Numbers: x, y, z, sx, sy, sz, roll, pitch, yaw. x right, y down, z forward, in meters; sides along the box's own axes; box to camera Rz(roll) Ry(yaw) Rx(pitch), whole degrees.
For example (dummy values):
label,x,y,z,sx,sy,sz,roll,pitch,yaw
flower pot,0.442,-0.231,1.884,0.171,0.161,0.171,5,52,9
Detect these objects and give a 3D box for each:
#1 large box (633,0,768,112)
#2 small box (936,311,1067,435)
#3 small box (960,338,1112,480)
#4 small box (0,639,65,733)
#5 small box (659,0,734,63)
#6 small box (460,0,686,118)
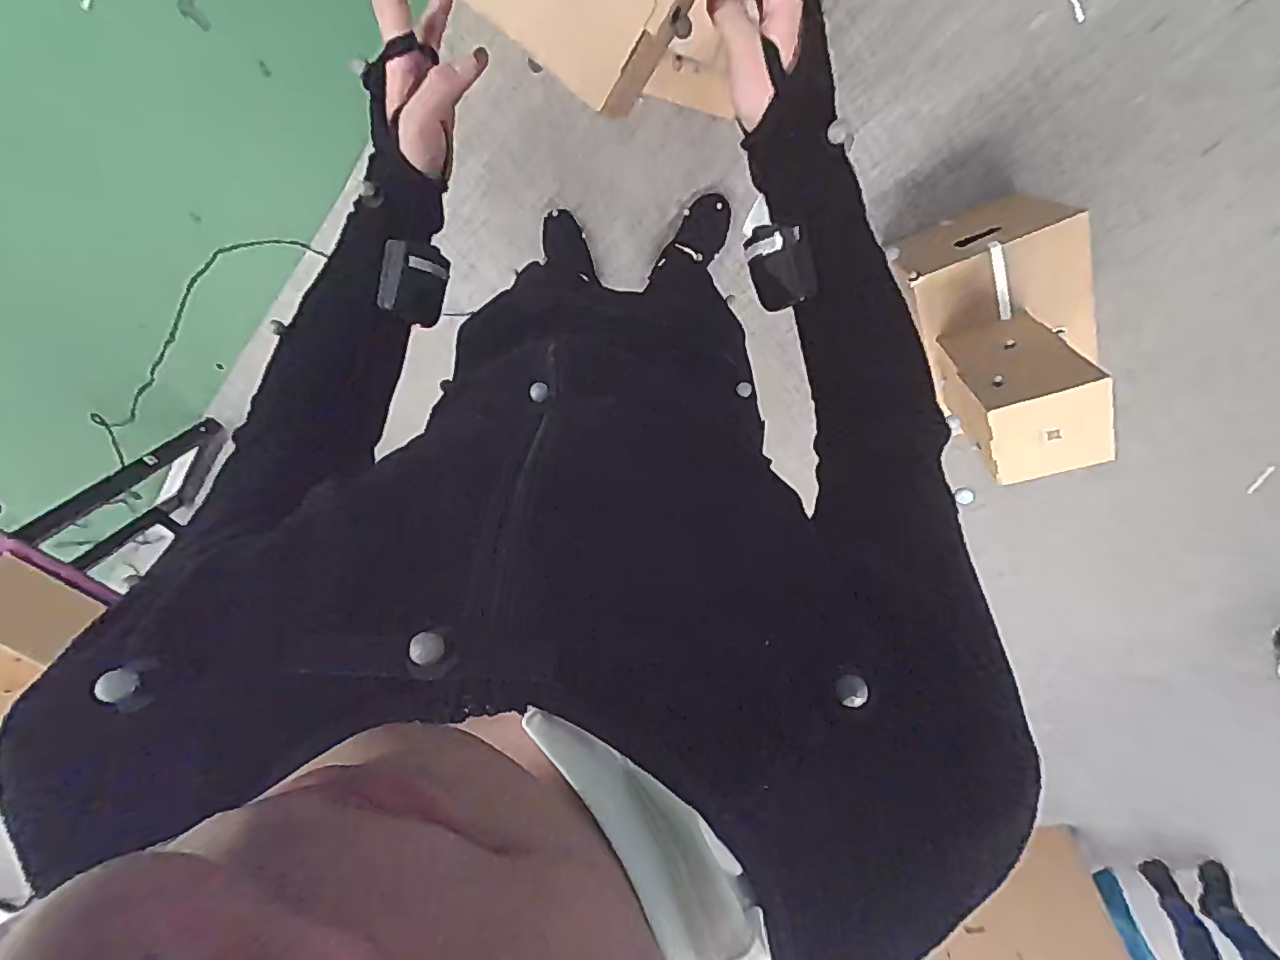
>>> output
label,x,y,z,sx,sy,sz,roll,pitch,yaw
large box,0.040,-0.932,1.033,0.408,0.320,0.320,16,124,0
small box,0.729,-0.221,1.100,0.179,0.176,0.168,-15,120,21
small box,0.697,-0.129,0.969,0.179,0.176,0.168,-17,120,21
small box,-1.765,0.569,1.495,0.179,0.176,0.168,-34,114,27
small box,0.045,-0.674,0.706,0.179,0.176,0.168,19,125,-3
small box,-0.046,-0.409,0.399,0.179,0.176,0.168,33,121,-16
